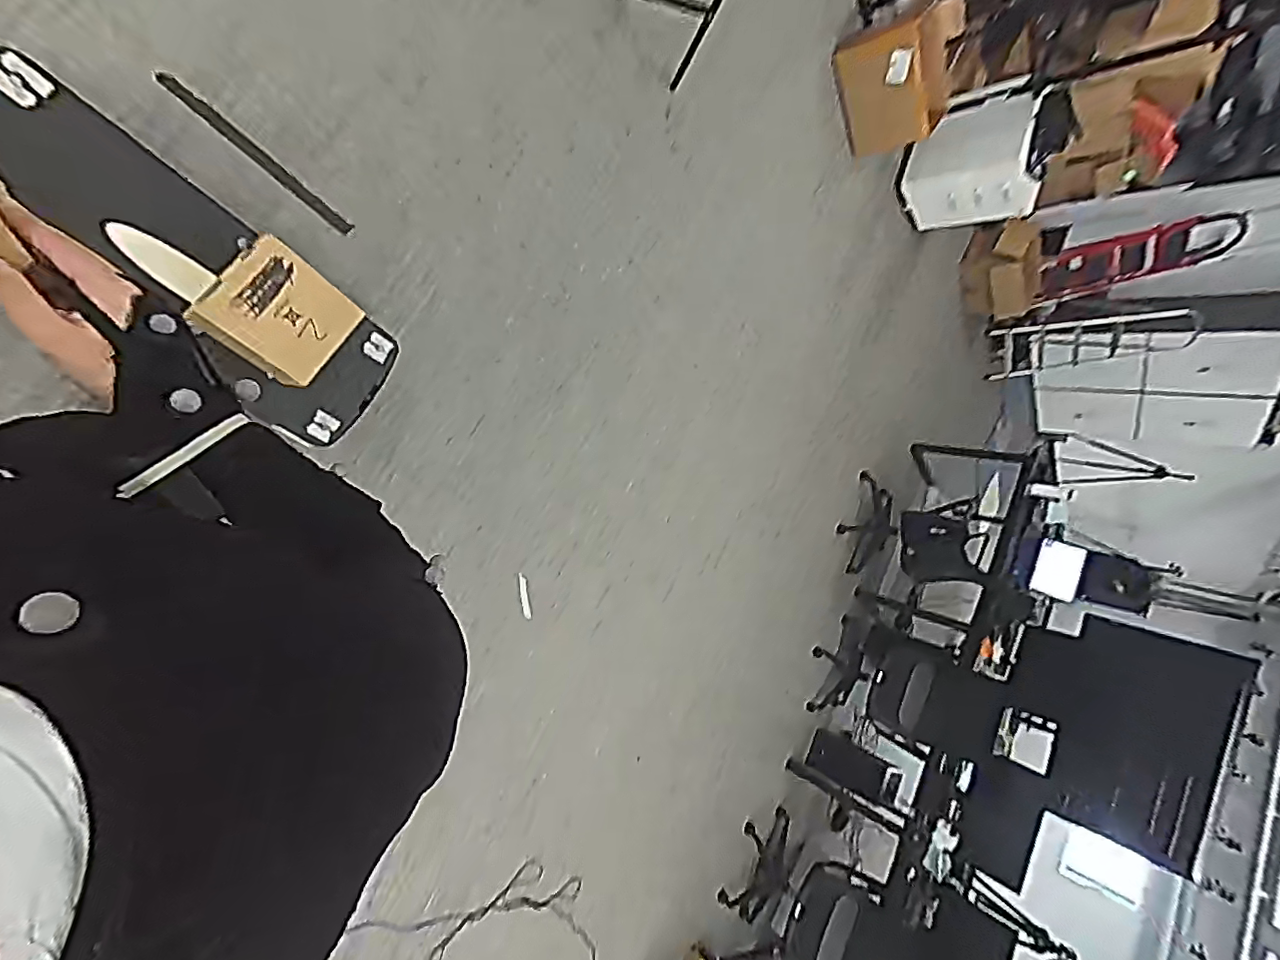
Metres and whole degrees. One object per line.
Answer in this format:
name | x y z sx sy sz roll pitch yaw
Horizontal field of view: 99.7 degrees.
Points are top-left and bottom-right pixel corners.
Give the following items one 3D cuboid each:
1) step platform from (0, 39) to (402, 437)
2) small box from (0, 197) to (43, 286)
step platform | -0.797 -0.361 0.978 0.684 0.204 0.286 41 70 -42
small box | -0.470 -0.183 0.255 0.168 0.176 0.179 -37 155 -26
